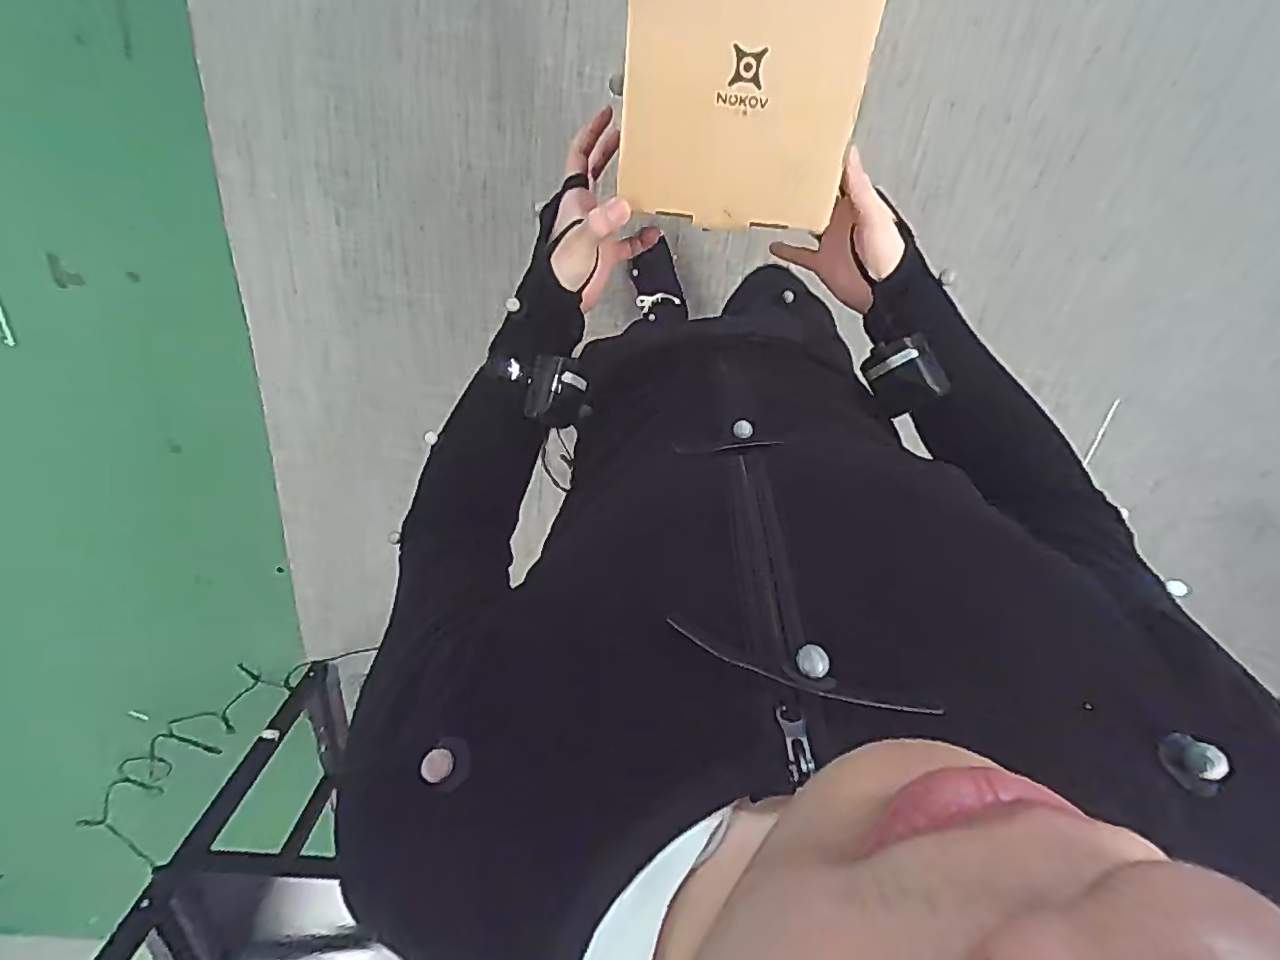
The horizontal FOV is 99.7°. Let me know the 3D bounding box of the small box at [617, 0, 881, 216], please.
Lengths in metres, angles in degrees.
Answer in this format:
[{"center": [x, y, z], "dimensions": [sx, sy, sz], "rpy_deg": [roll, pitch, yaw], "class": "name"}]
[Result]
[{"center": [0.073, -0.328, 0.437], "dimensions": [0.168, 0.176, 0.179], "rpy_deg": [5, 122, -3], "class": "small box"}]
